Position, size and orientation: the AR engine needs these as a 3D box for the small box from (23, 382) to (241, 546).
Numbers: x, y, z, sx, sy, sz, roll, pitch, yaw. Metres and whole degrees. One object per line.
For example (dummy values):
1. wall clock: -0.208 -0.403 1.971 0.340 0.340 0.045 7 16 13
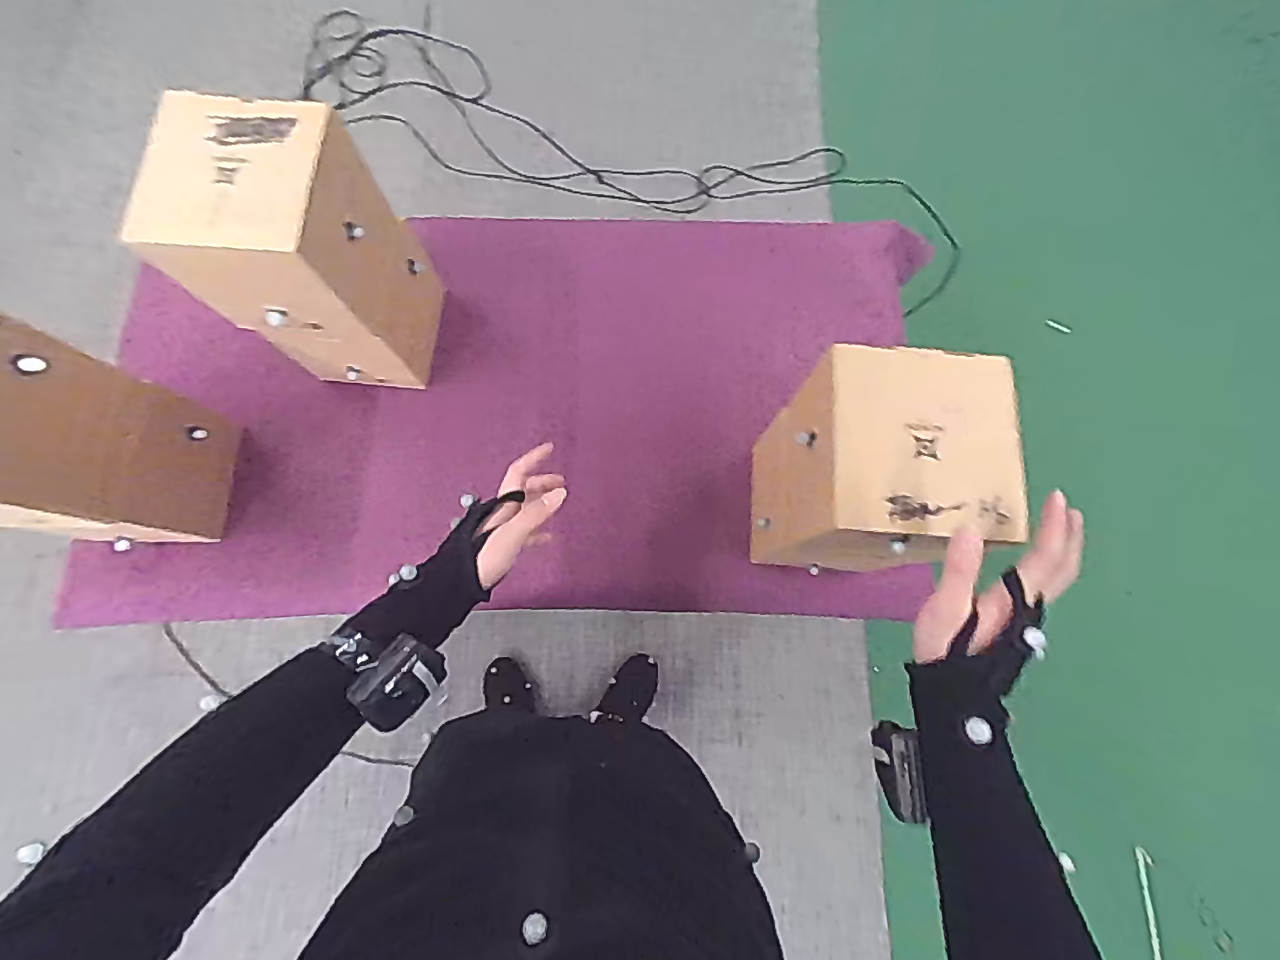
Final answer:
1. small box: -0.664 -0.015 0.702 0.168 0.176 0.179 1 75 -1

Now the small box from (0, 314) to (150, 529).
1. small box: -0.656 -0.050 0.544 0.168 0.176 0.179 2 74 0

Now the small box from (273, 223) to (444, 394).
1. small box: -0.394 -0.243 0.767 0.168 0.176 0.179 6 76 0

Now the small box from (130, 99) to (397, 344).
1. small box: -0.395 -0.277 0.606 0.168 0.176 0.179 4 77 -1

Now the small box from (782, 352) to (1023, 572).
1. small box: 0.249 -0.008 0.556 0.168 0.176 0.179 5 75 1
